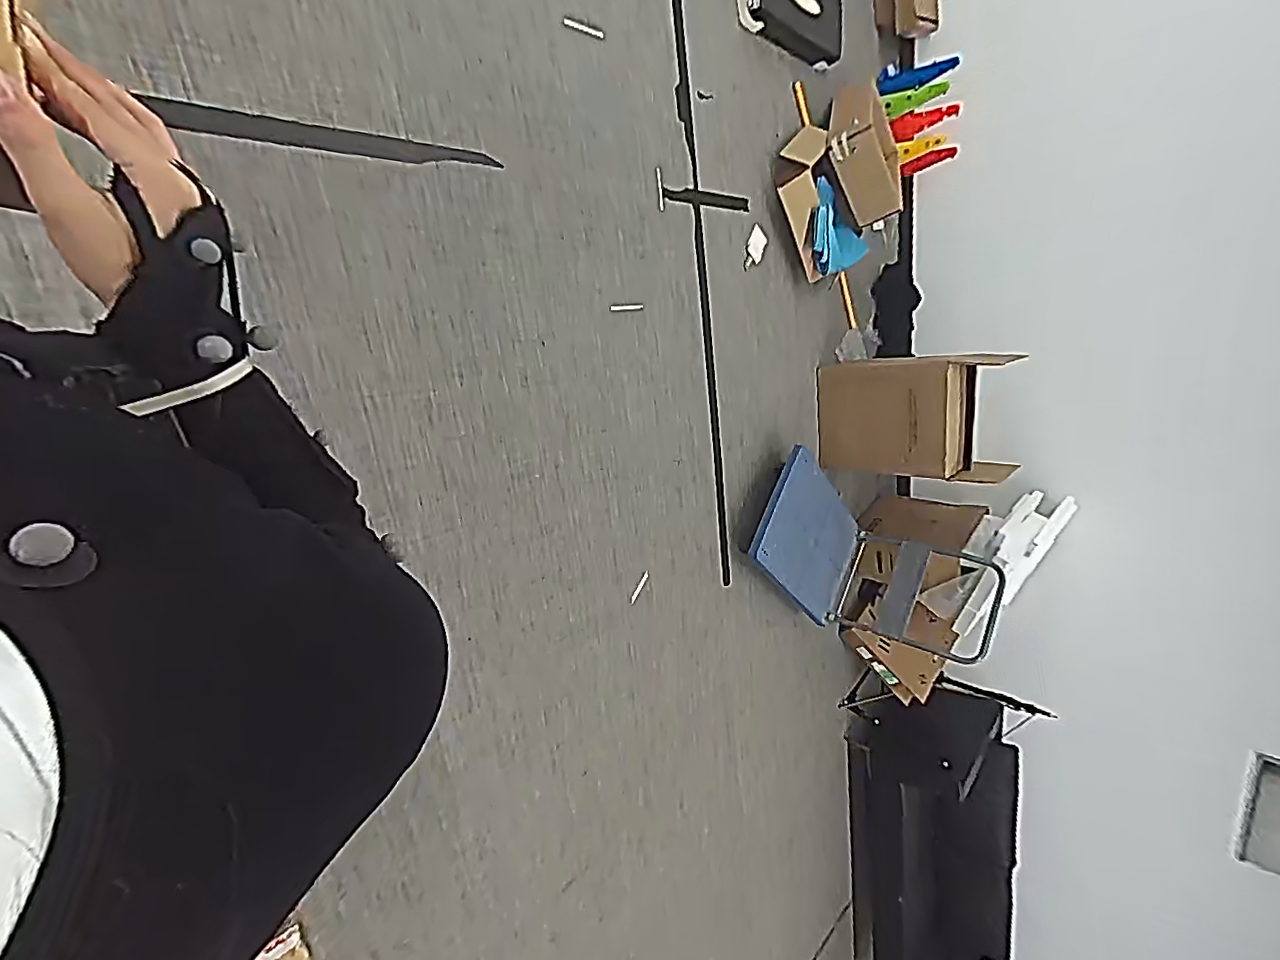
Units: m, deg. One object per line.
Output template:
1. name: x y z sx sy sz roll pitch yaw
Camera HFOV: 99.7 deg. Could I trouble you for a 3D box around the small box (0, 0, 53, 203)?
1. small box: -0.396 -0.244 0.235 0.179 0.176 0.168 -7 100 -45
